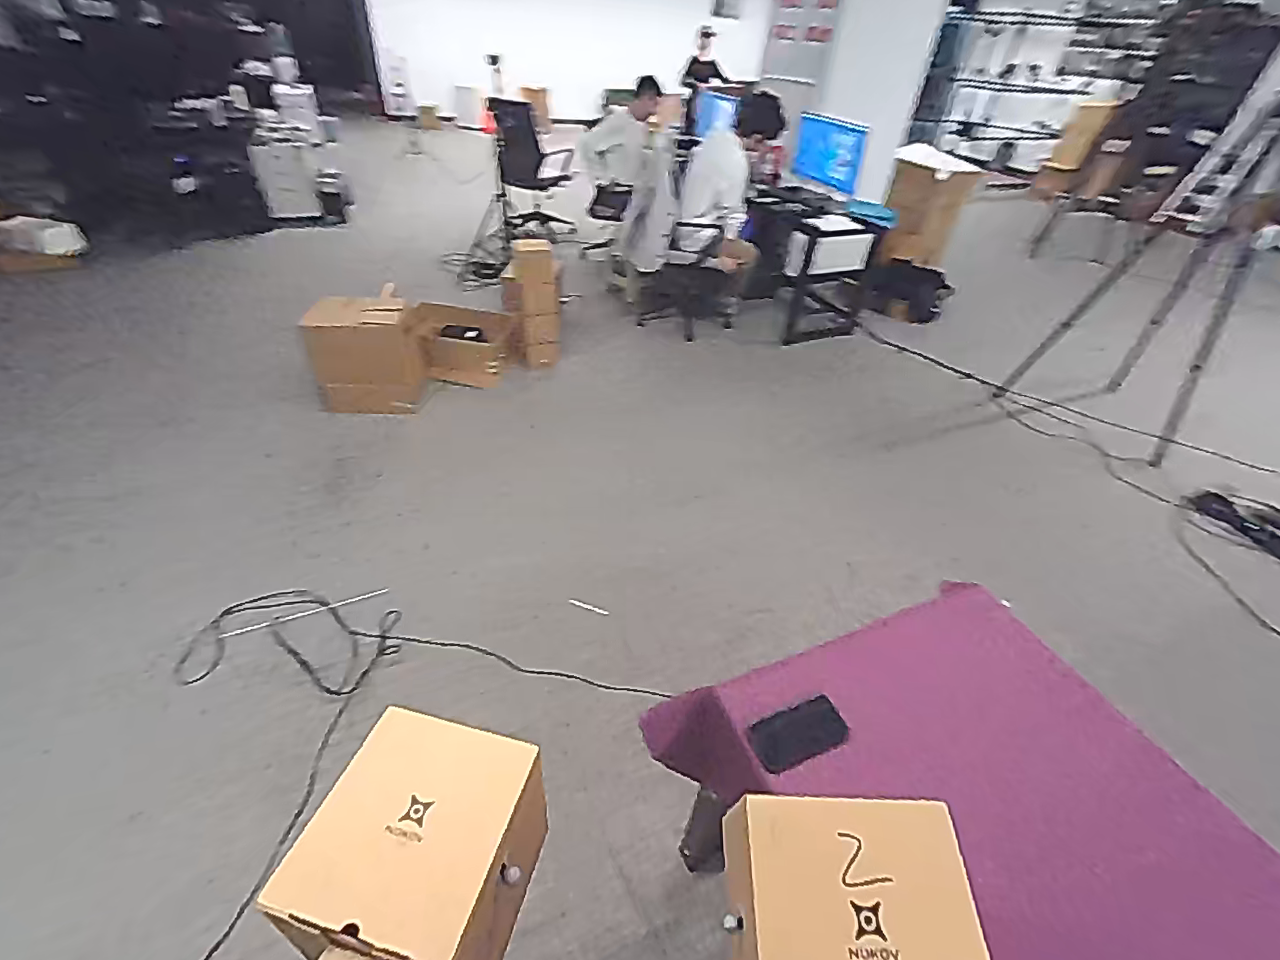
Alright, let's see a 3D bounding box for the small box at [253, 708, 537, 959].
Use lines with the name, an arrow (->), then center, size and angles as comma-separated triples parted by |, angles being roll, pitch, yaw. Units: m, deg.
small box -> -0.204, 0.357, 0.511 | 0.168, 0.176, 0.179 | 10, 36, 9
